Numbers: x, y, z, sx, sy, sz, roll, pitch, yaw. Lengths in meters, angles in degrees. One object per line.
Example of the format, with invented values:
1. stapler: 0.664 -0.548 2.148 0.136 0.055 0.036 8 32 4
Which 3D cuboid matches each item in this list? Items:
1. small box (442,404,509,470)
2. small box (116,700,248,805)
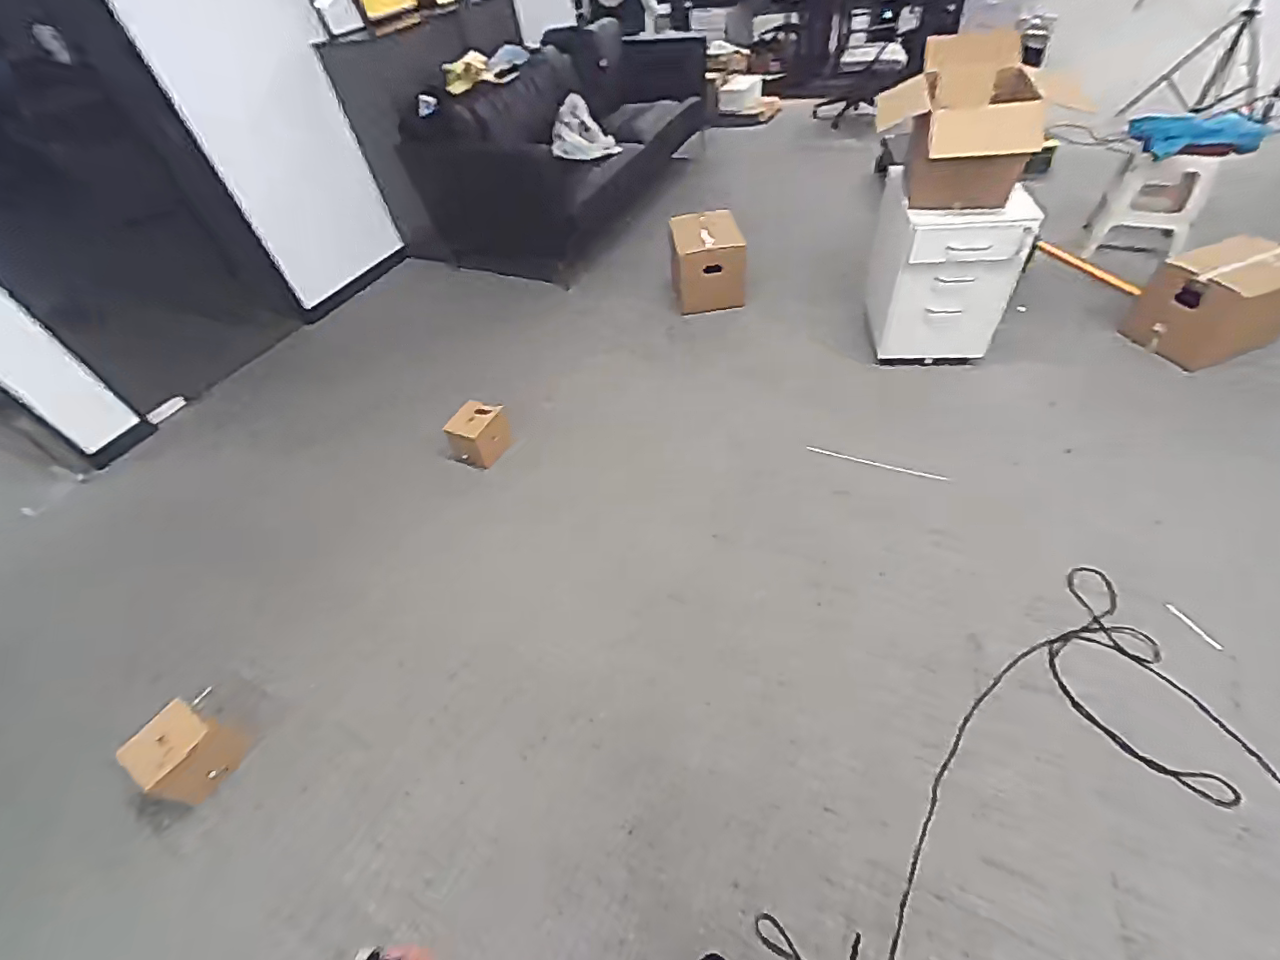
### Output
1. small box: -0.642 -0.169 2.143 0.168 0.176 0.179 17 54 22
2. small box: -1.192 0.719 1.419 0.179 0.176 0.168 21 55 25
